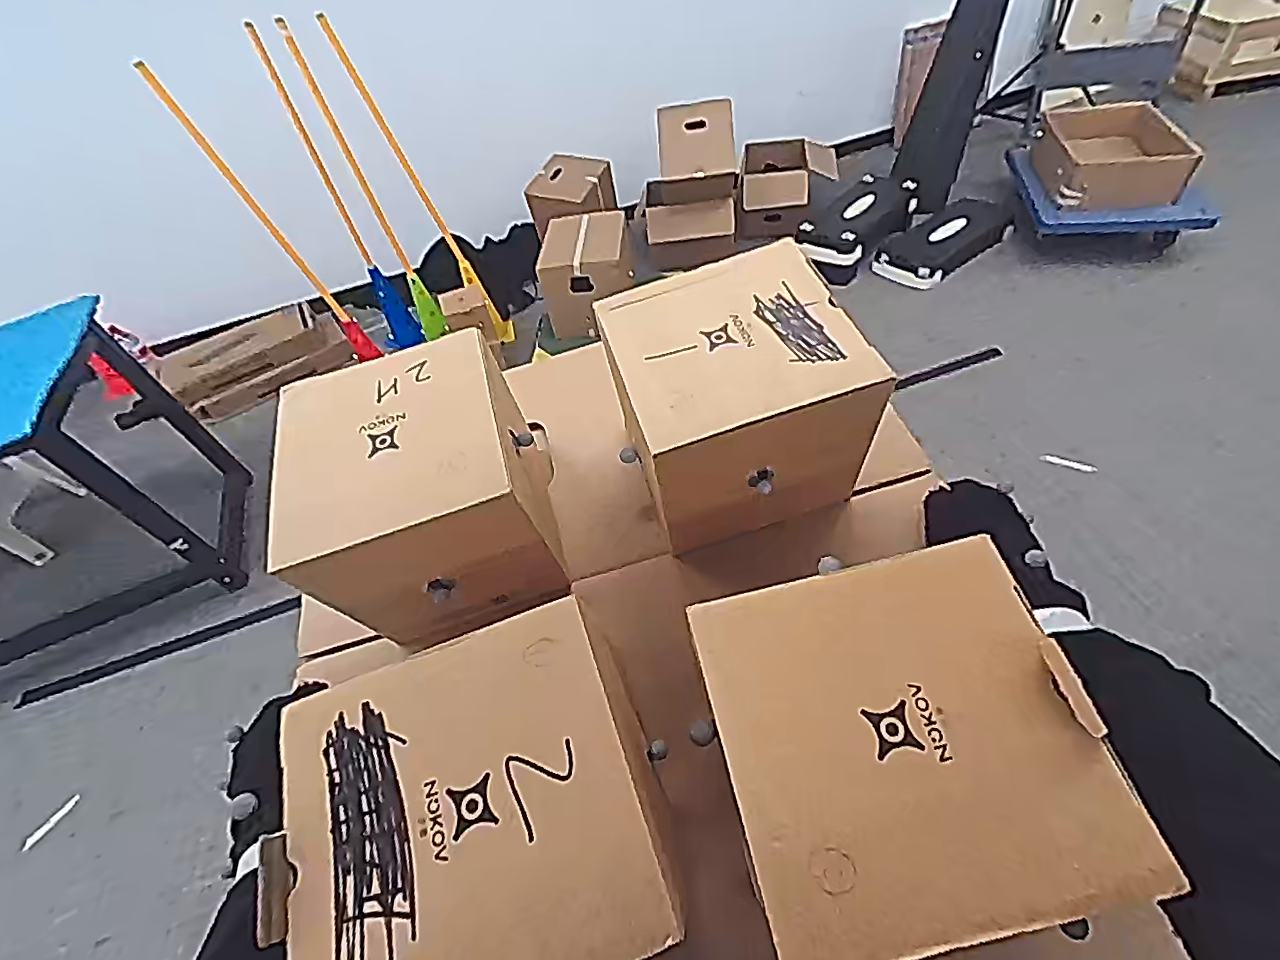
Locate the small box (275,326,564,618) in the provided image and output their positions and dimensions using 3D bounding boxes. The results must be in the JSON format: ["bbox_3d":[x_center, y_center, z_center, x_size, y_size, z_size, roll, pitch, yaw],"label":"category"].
[{"bbox_3d":[-0.175,0.005,0.470,0.168,0.176,0.179,-18,57,-3],"label":"small box"}]

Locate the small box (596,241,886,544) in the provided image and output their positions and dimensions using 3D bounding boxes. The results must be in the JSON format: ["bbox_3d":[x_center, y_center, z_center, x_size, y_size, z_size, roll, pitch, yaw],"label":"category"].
[{"bbox_3d":[0.076,-0.067,0.473,0.179,0.176,0.168,-18,58,-1],"label":"small box"}]
